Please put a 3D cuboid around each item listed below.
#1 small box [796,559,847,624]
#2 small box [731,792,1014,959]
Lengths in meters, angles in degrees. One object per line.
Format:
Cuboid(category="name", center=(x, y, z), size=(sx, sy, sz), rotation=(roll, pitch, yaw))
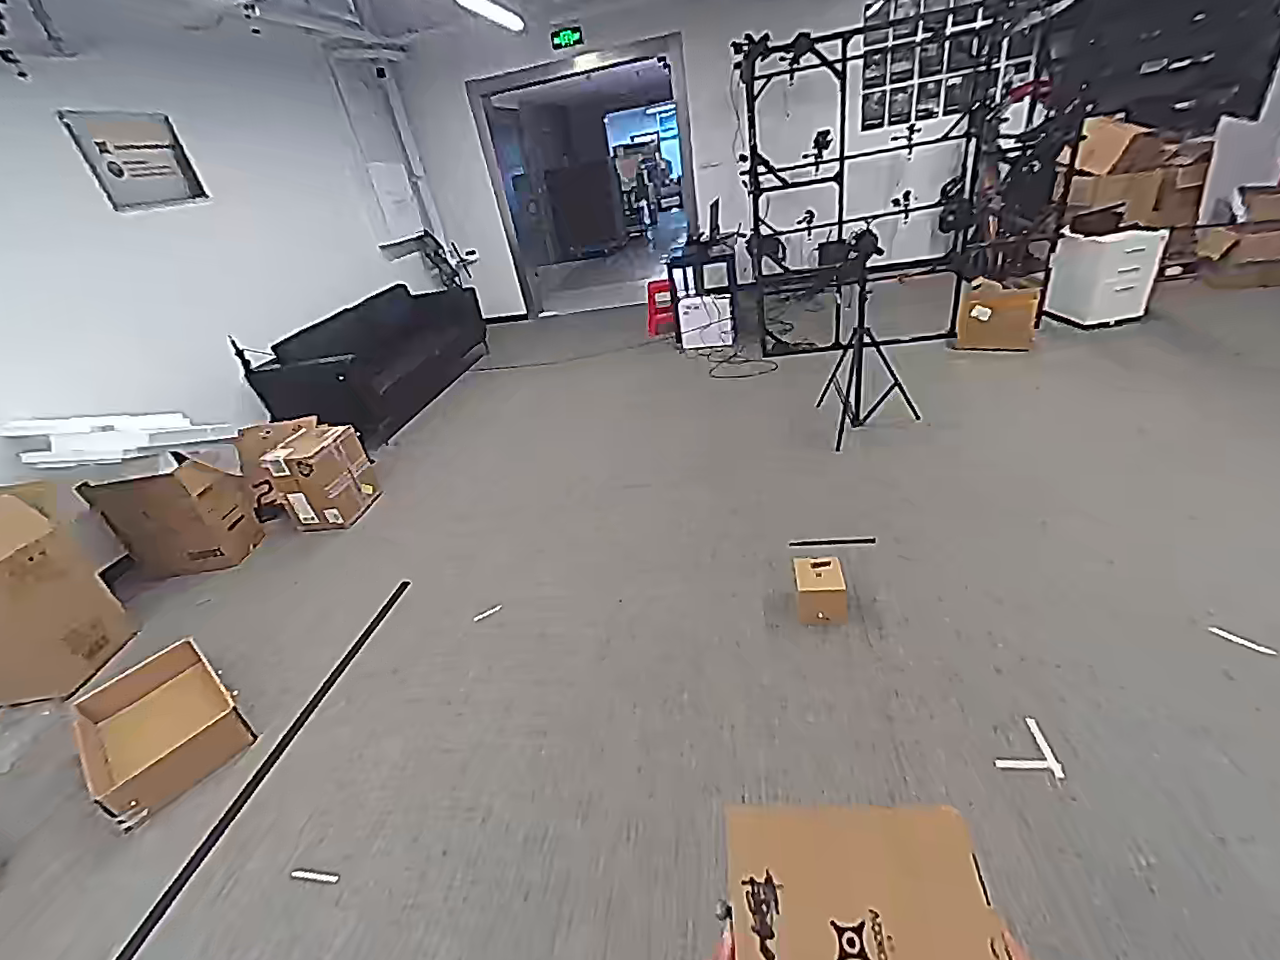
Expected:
Cuboid(category="small box", center=(0.674, 0.417, 2.022), size=(0.168, 0.176, 0.179), rotation=(-4, 32, 12))
Cuboid(category="small box", center=(0.164, 0.354, 0.420), size=(0.179, 0.176, 0.168), rotation=(-4, 48, 8))
